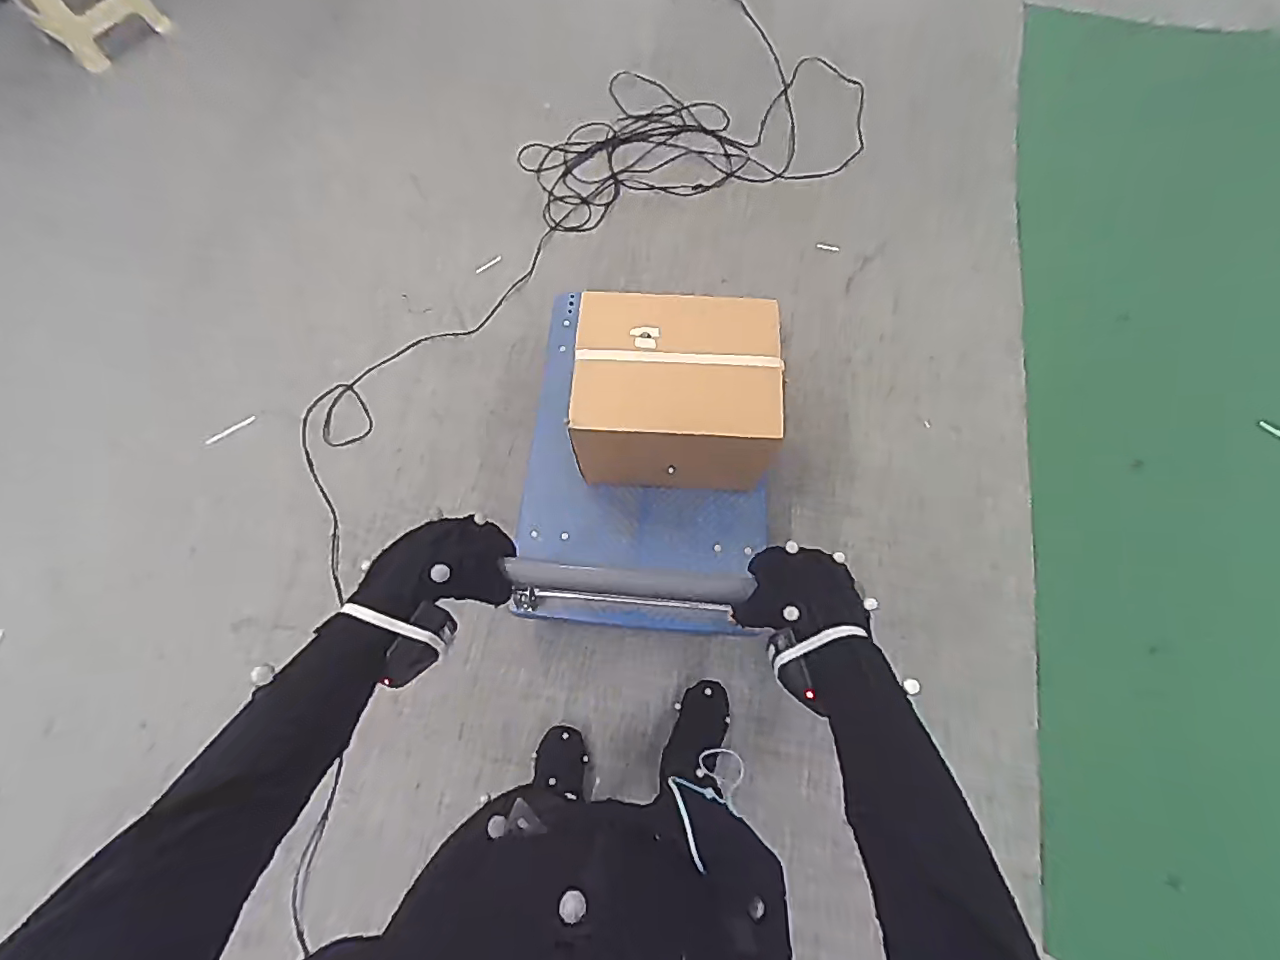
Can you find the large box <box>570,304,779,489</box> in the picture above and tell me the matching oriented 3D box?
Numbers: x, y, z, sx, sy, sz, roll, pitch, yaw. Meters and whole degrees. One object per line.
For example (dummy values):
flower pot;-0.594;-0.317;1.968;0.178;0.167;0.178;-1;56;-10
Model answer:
large box;0.076;-0.171;1.212;0.408;0.320;0.320;2;70;3
